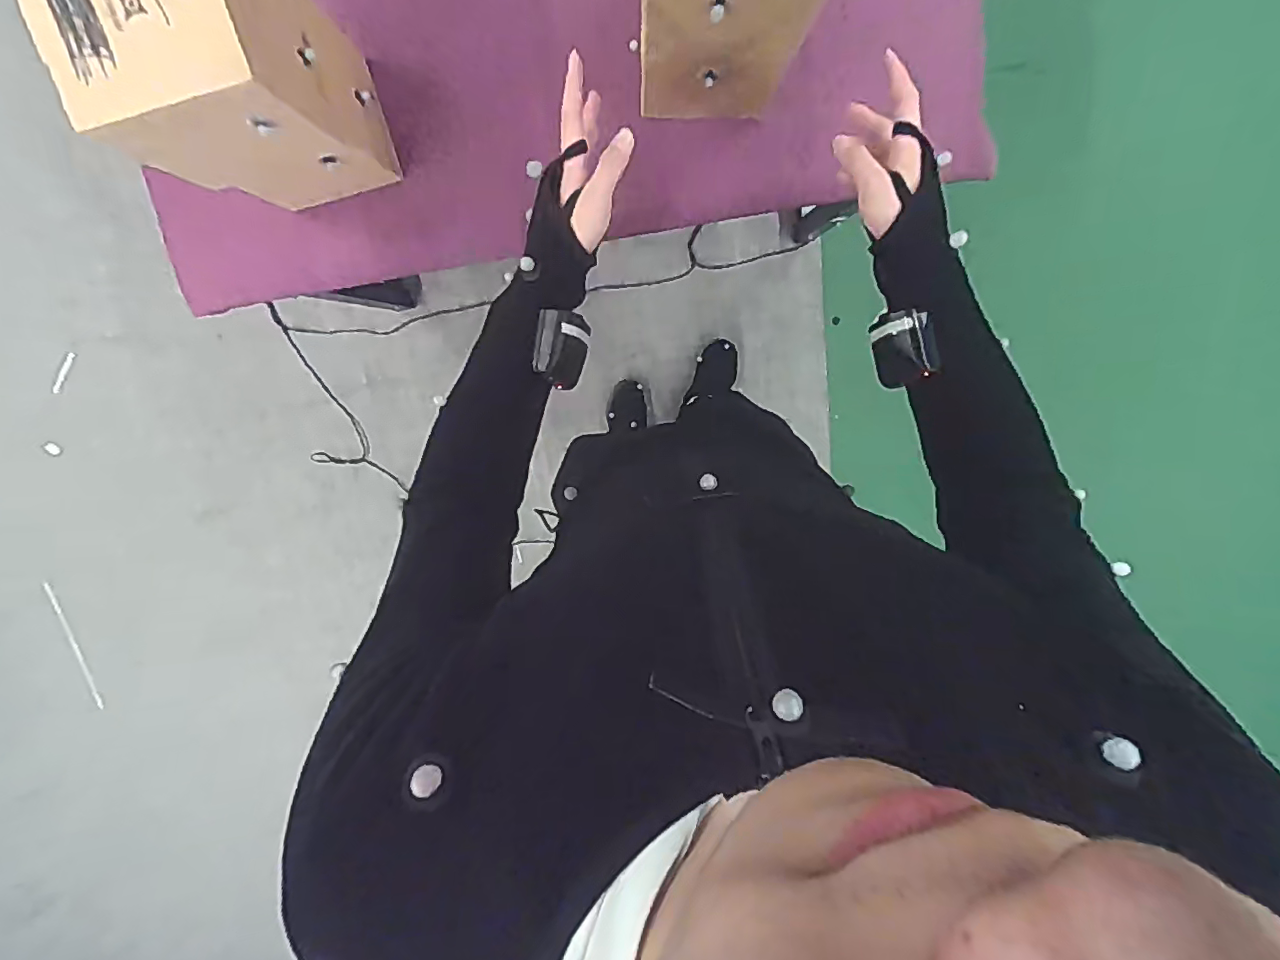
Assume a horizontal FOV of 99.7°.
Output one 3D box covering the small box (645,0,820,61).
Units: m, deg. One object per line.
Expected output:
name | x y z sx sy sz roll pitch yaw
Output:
small box | 0.091 -0.534 0.516 0.179 0.176 0.168 -1 104 2

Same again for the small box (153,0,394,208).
small box | -0.445 -0.474 0.696 0.179 0.176 0.168 -13 103 3

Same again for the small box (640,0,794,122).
small box | 0.091 -0.573 0.675 0.179 0.176 0.168 2 103 0
